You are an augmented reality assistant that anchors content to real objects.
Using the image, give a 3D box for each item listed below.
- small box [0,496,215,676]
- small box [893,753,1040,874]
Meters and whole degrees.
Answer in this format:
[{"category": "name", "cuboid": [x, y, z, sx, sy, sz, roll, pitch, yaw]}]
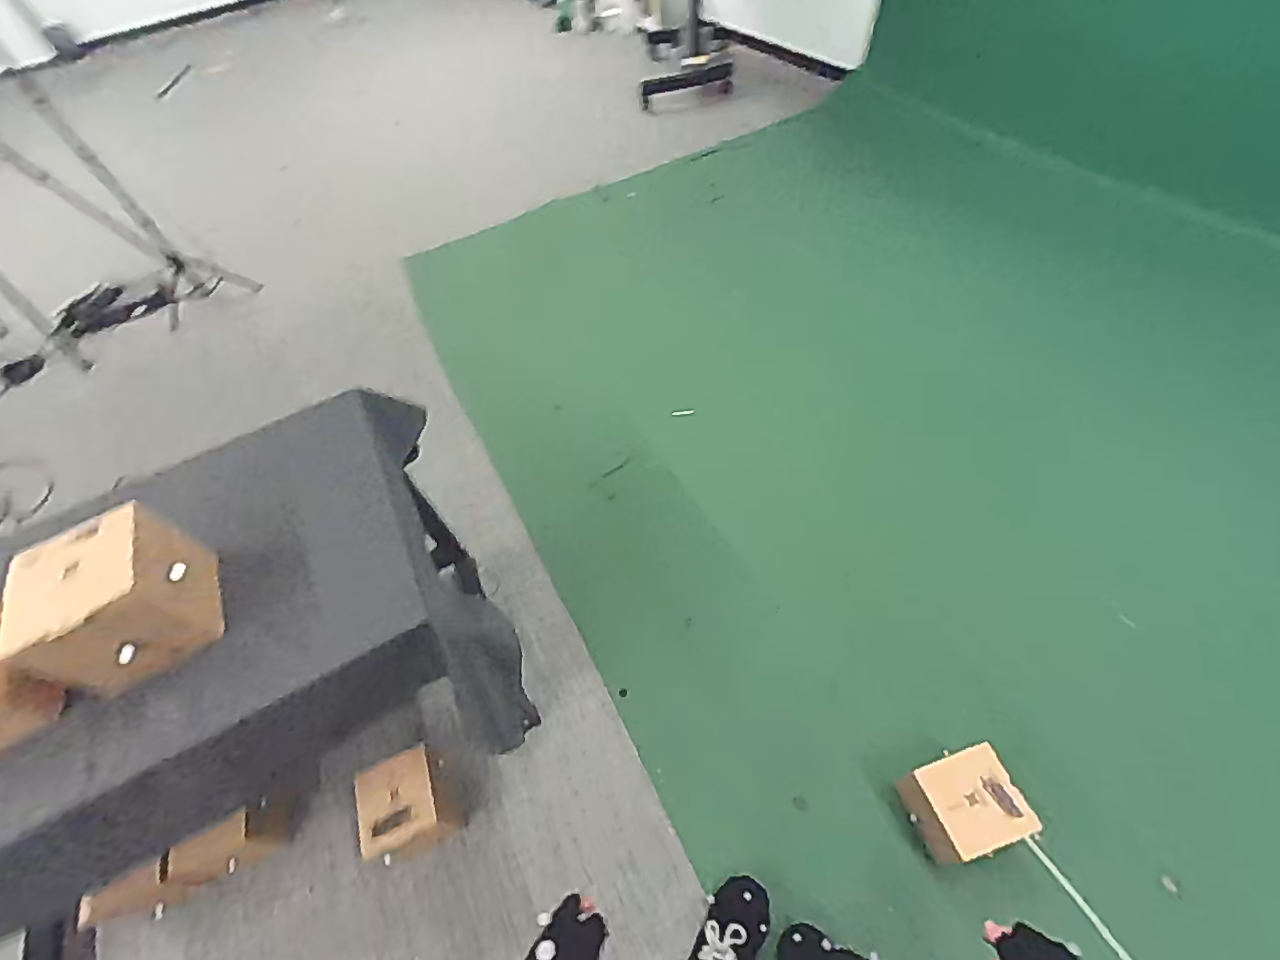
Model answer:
[{"category": "small box", "cuboid": [-0.762, 0.162, 0.788, 0.168, 0.176, 0.179, -28, 56, -14]}, {"category": "small box", "cuboid": [0.664, 0.695, 1.127, 0.179, 0.176, 0.168, -18, 53, -5]}]
